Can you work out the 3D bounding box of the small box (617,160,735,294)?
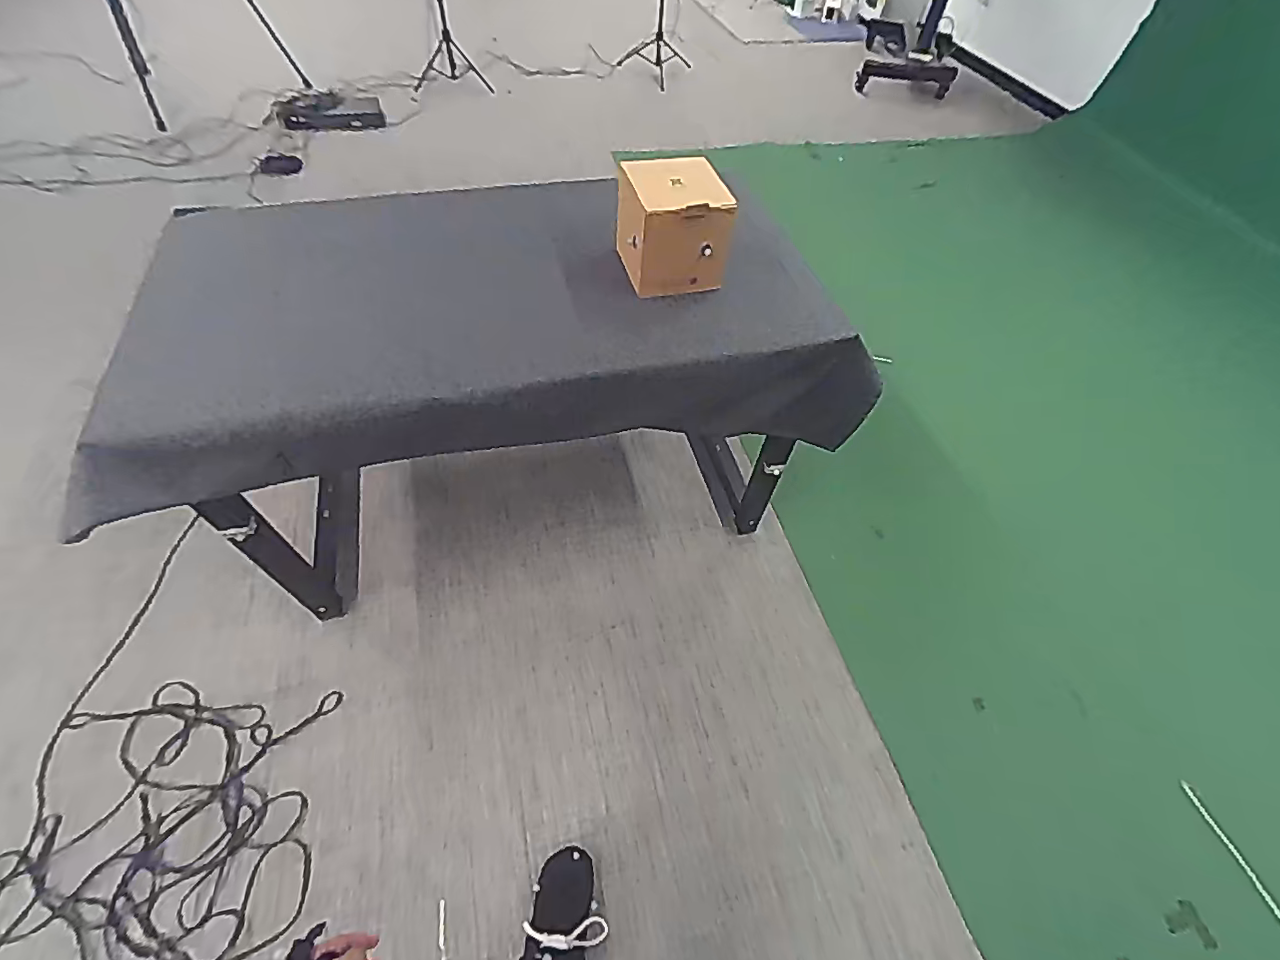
[{"bbox_3d":[0.056,-0.459,0.997,0.168,0.176,0.179,-11,55,-13],"label":"small box"}]
